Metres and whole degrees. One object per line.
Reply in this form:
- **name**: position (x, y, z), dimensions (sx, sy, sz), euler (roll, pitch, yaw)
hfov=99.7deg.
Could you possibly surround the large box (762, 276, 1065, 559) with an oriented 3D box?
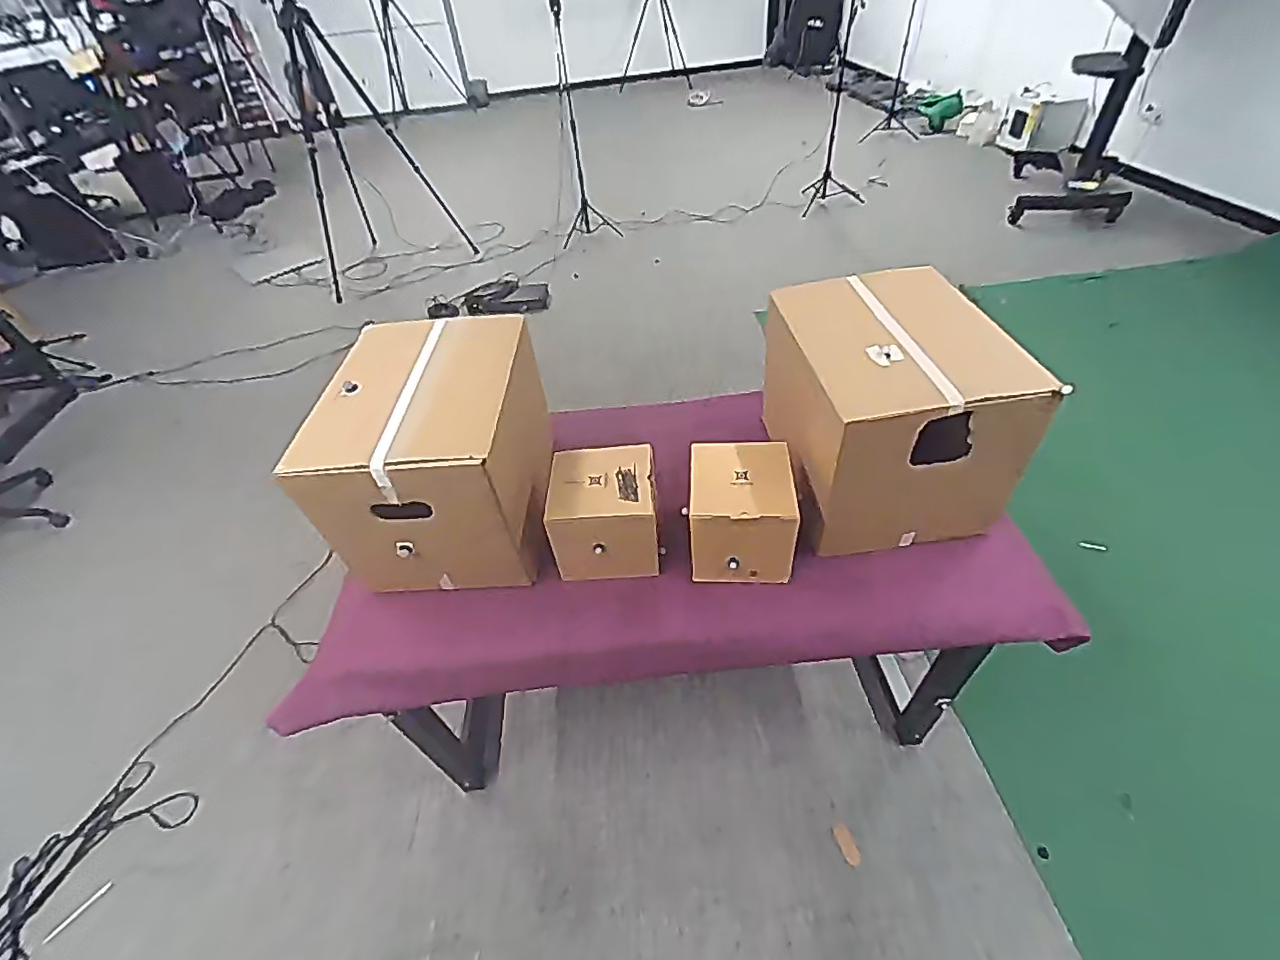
- **large box**: position (0.430, -0.121, 0.986), dimensions (0.320, 0.320, 0.408), euler (-9, 45, 1)
